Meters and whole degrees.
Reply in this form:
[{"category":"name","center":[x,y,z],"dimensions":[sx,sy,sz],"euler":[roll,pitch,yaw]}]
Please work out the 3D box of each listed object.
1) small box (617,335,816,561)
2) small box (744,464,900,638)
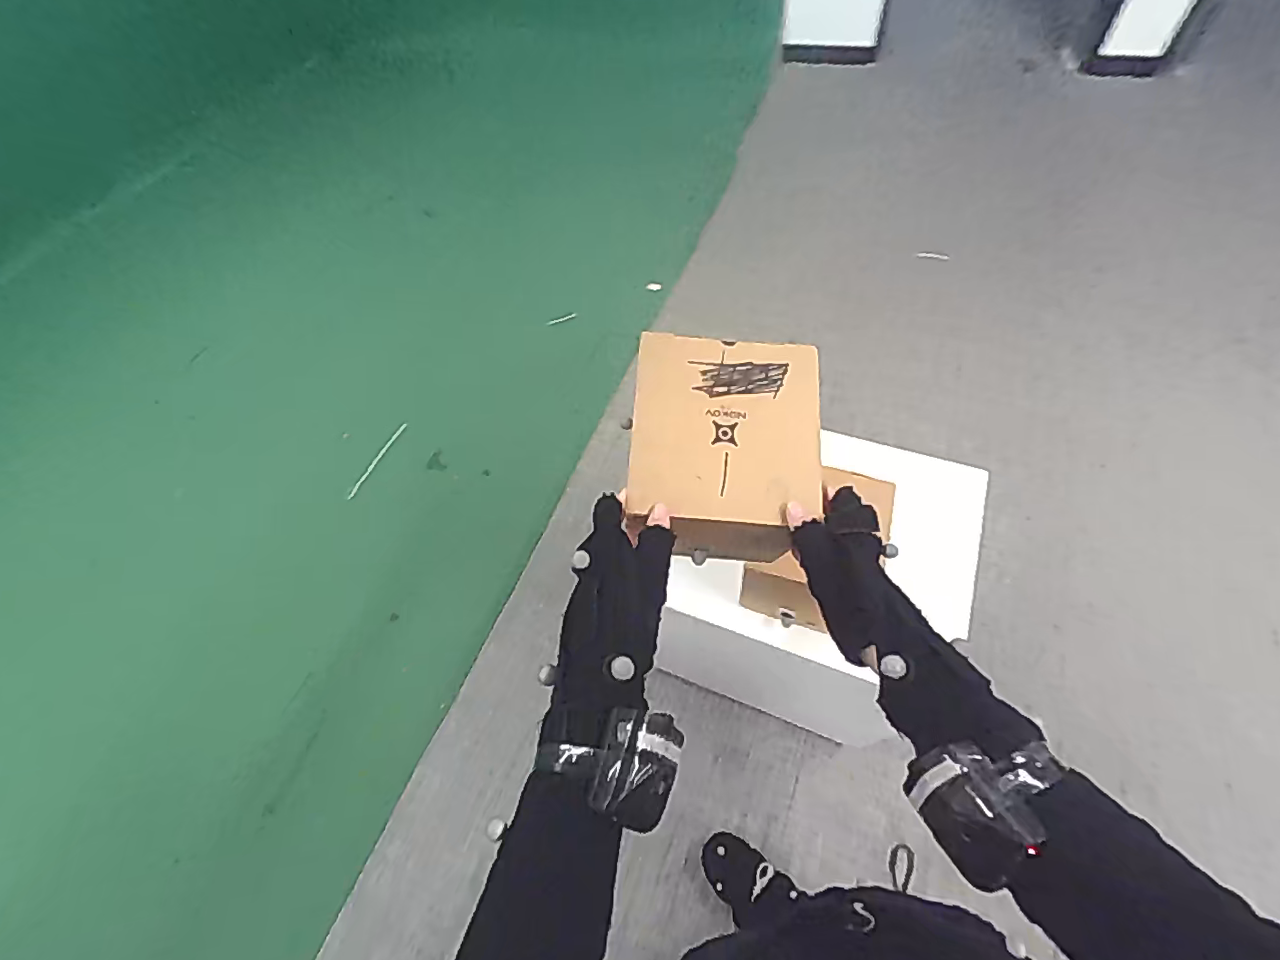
[{"category":"small box","center":[0.062,-0.023,0.541],"dimensions":[0.168,0.176,0.179],"euler":[0,71,0]},{"category":"small box","center":[0.244,0.097,0.754],"dimensions":[0.168,0.176,0.179],"euler":[13,63,17]}]
